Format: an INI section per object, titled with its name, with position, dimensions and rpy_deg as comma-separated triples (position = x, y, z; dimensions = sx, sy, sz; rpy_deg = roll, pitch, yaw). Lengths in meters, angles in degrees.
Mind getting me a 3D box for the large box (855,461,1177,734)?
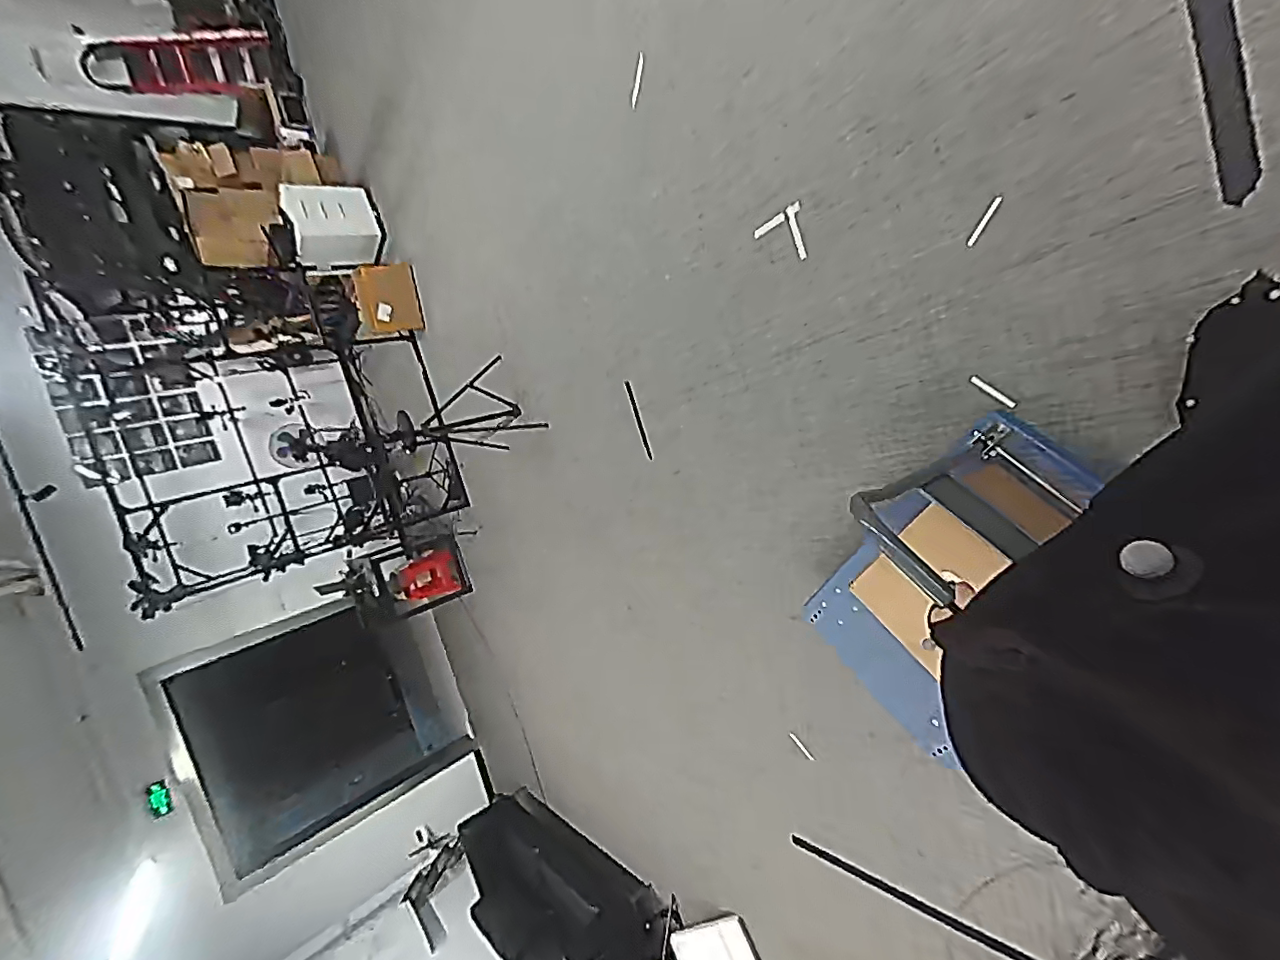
[large box]
position = 0.763, 0.227, 1.135
dimensions = 0.408, 0.320, 0.320
rpy_deg = 50, 138, 27
